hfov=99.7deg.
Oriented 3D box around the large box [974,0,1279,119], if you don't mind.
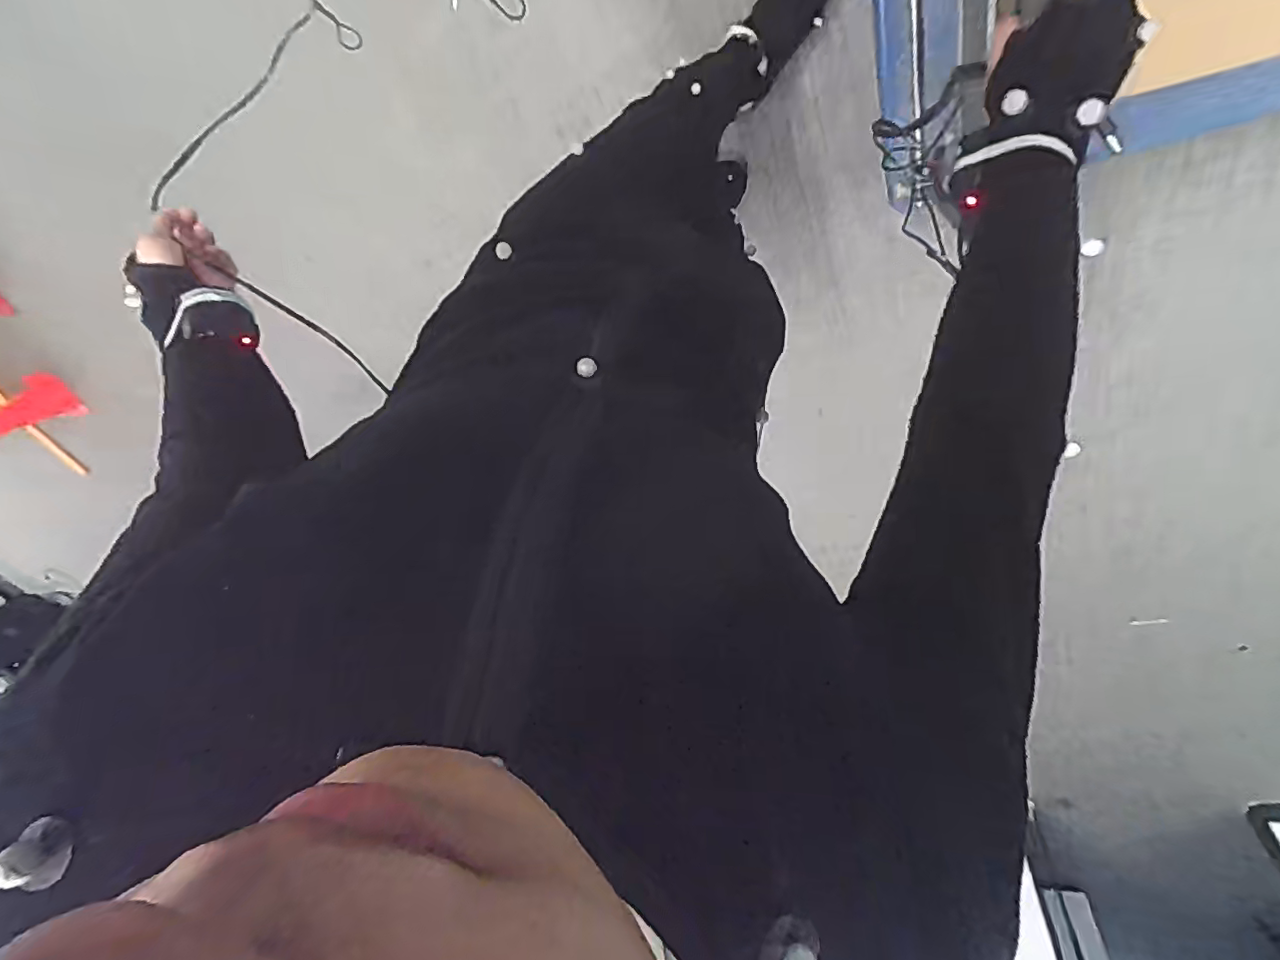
[{"bbox_3d":[0.705,-0.722,0.700,0.408,0.320,0.320,-6,128,18],"label":"large box"}]
